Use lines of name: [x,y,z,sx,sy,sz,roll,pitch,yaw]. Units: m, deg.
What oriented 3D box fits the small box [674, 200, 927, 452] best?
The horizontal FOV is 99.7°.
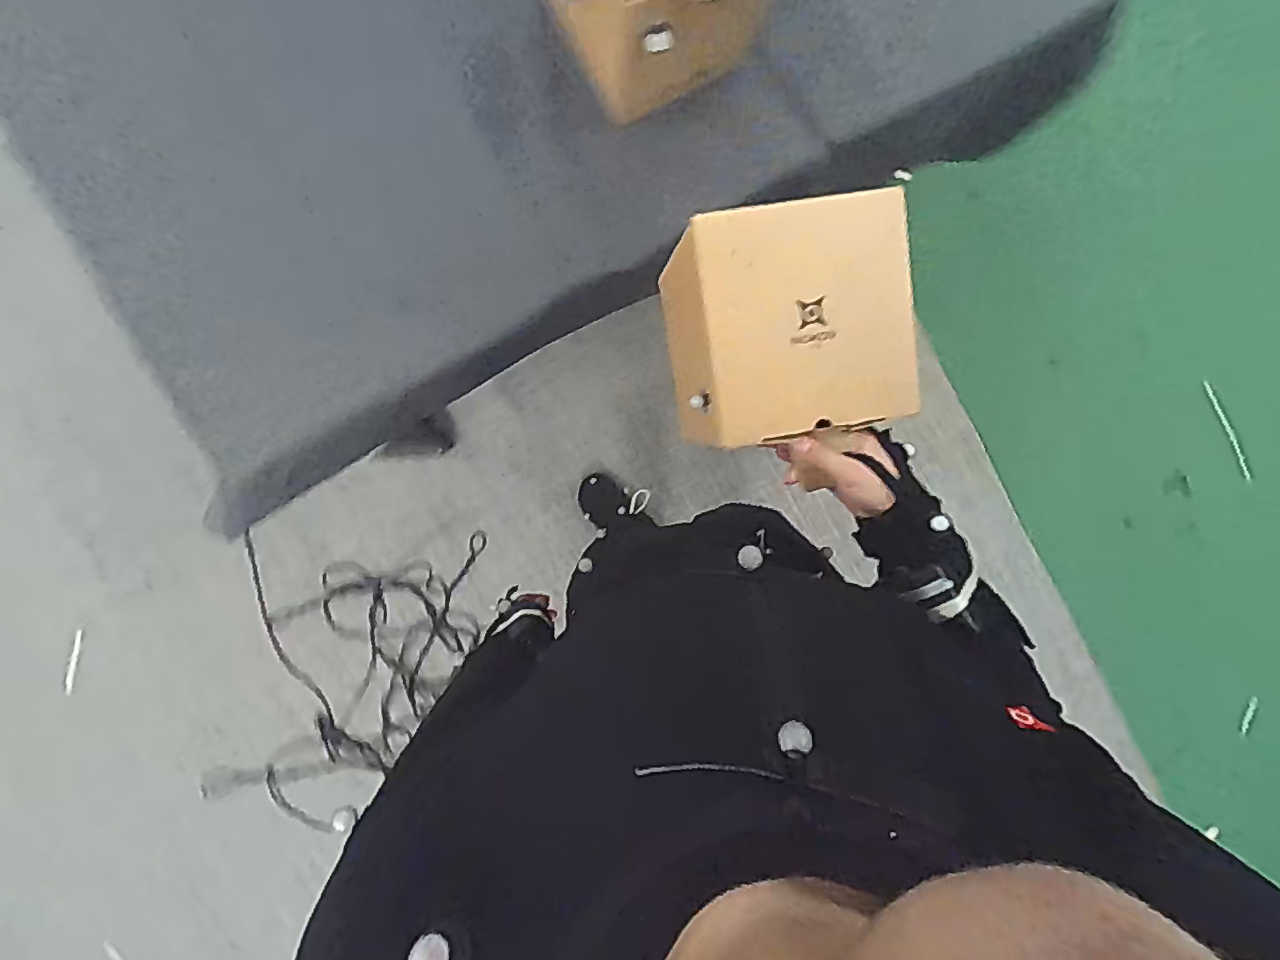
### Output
small box: [0.131,-0.128,0.494,0.168,0.176,0.179,-9,99,-4]
